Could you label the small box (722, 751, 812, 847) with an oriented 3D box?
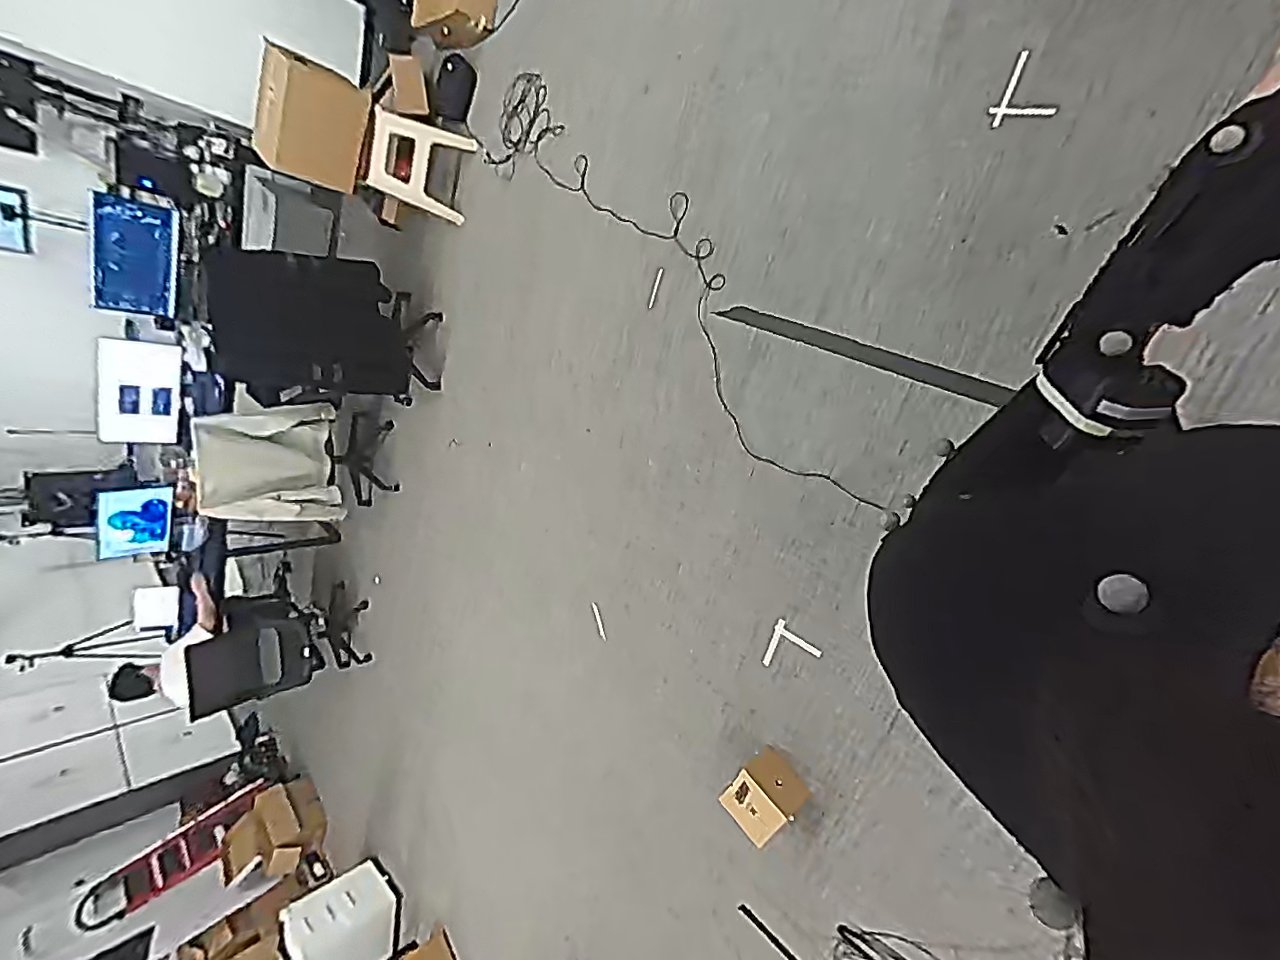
[{"bbox_3d":[0.396,0.976,1.679,0.179,0.176,0.168,42,119,30],"label":"small box"}]
